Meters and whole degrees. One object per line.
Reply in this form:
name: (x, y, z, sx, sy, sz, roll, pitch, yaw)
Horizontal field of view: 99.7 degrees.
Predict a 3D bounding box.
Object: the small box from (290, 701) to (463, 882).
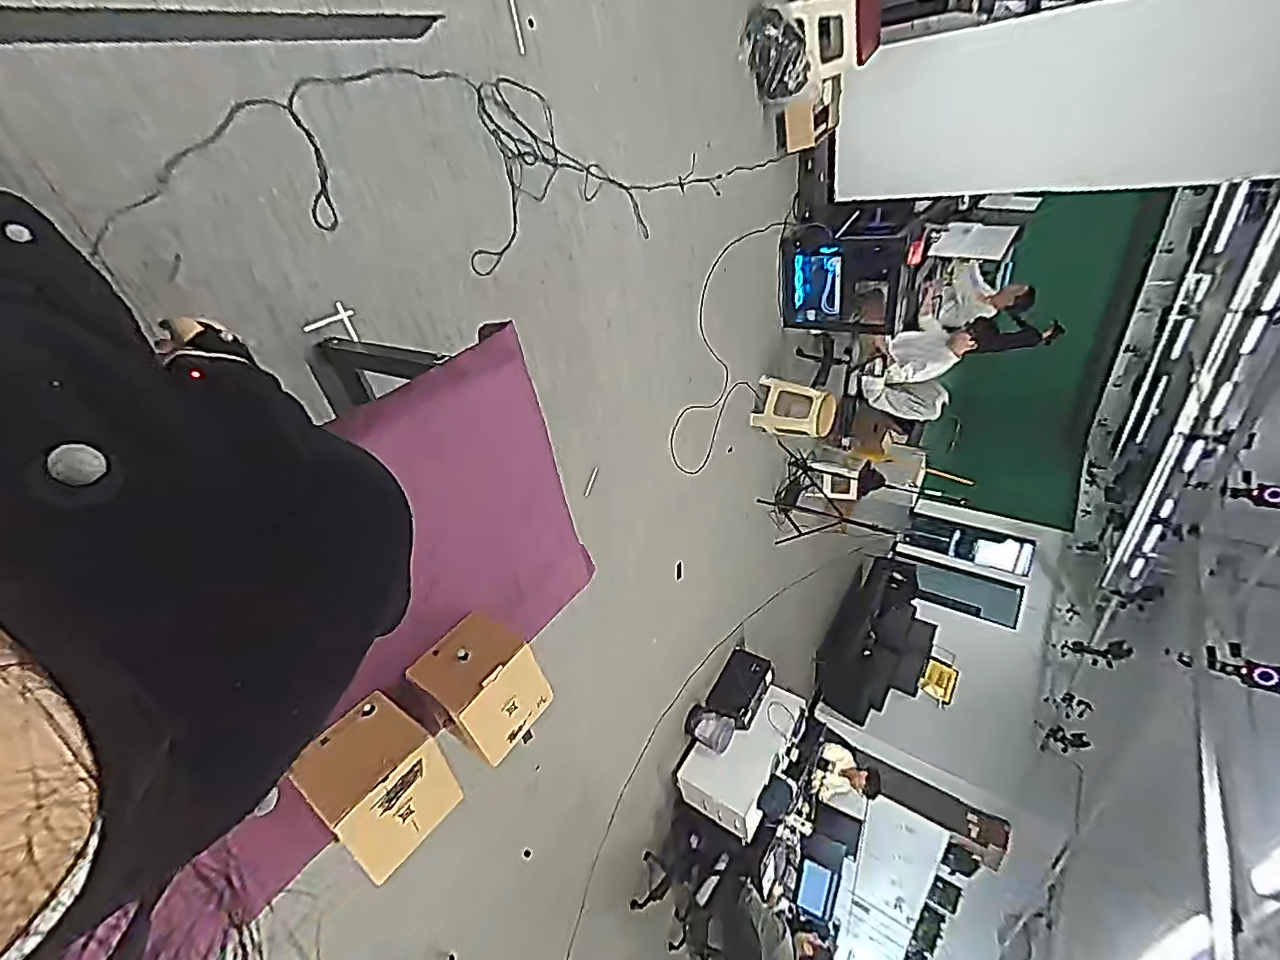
small box: (-0.429, 0.493, 0.885, 0.168, 0.176, 0.179, -39, 132, -41)
